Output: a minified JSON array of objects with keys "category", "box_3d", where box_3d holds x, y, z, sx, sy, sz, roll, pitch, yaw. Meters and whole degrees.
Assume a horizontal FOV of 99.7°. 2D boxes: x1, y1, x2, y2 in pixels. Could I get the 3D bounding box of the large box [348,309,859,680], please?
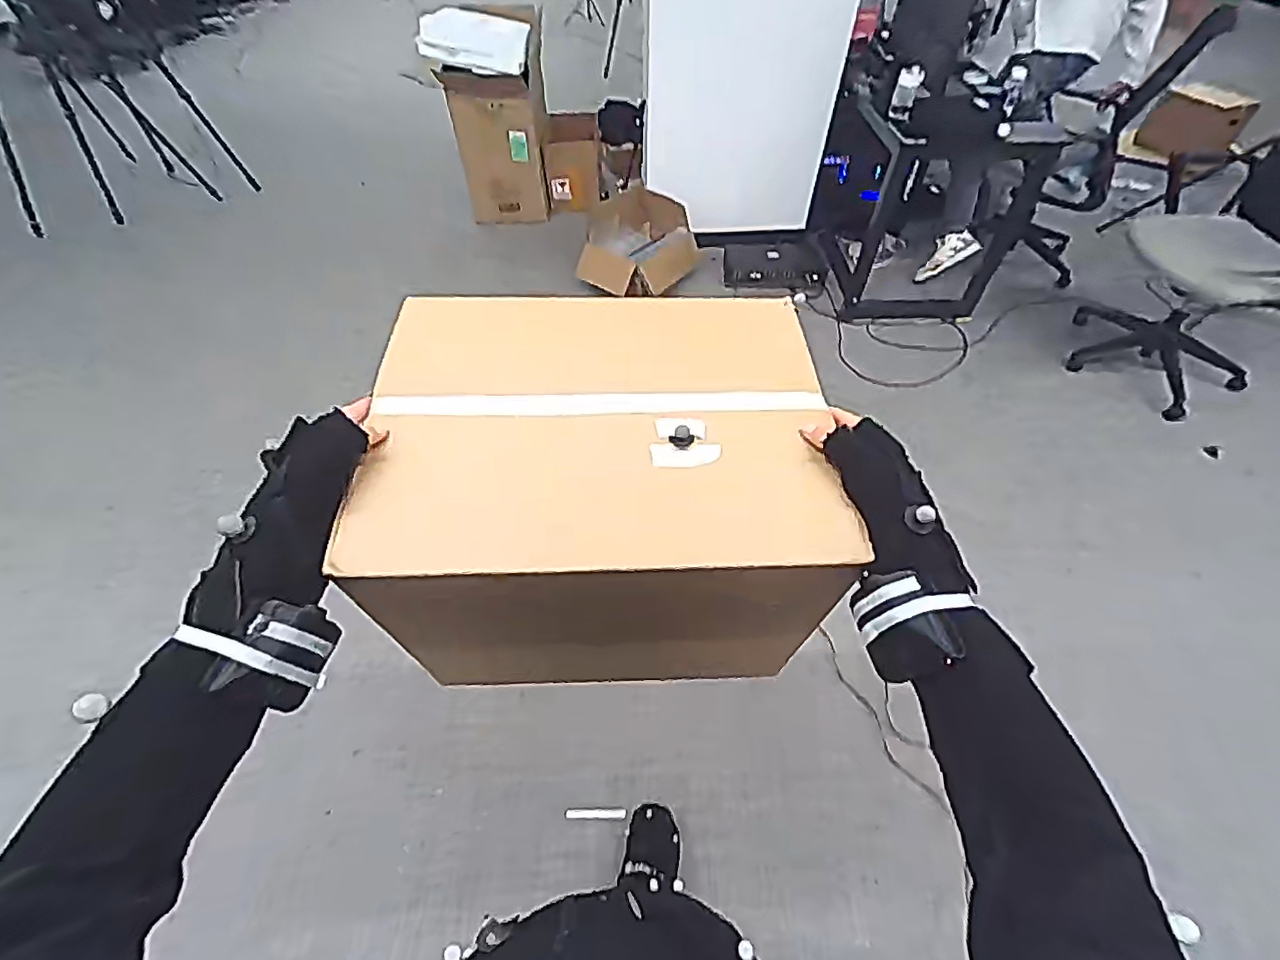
[{"category":"large box","box_3d":[-0.036,0.025,0.620,0.408,0.320,0.320,0,55,-3]}]
